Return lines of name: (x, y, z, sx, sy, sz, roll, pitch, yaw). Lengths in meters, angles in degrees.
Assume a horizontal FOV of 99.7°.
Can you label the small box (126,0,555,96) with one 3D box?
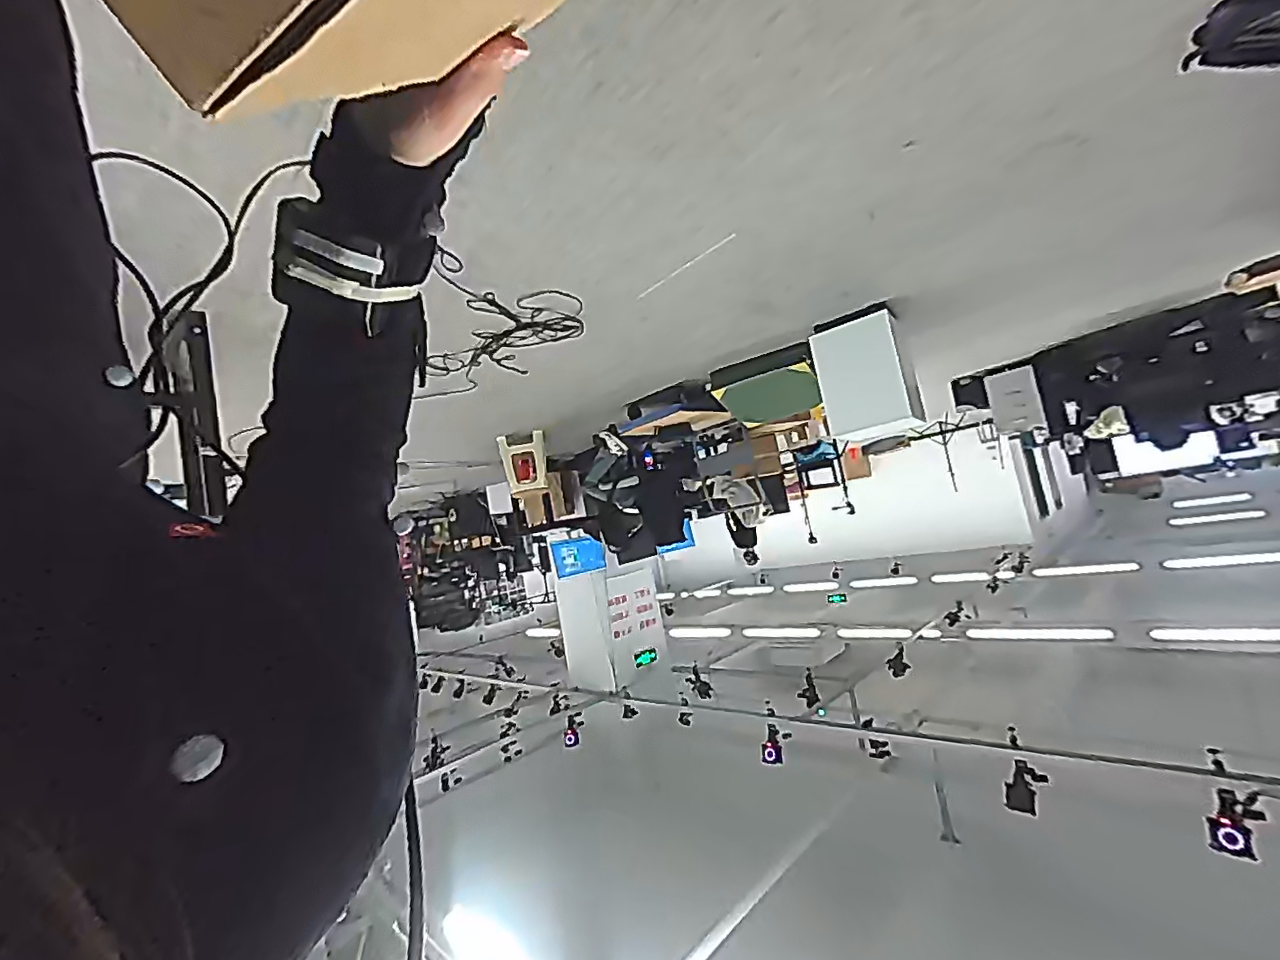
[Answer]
small box: (-0.072, -0.242, 0.140, 0.179, 0.176, 0.168, -13, -144, 26)
